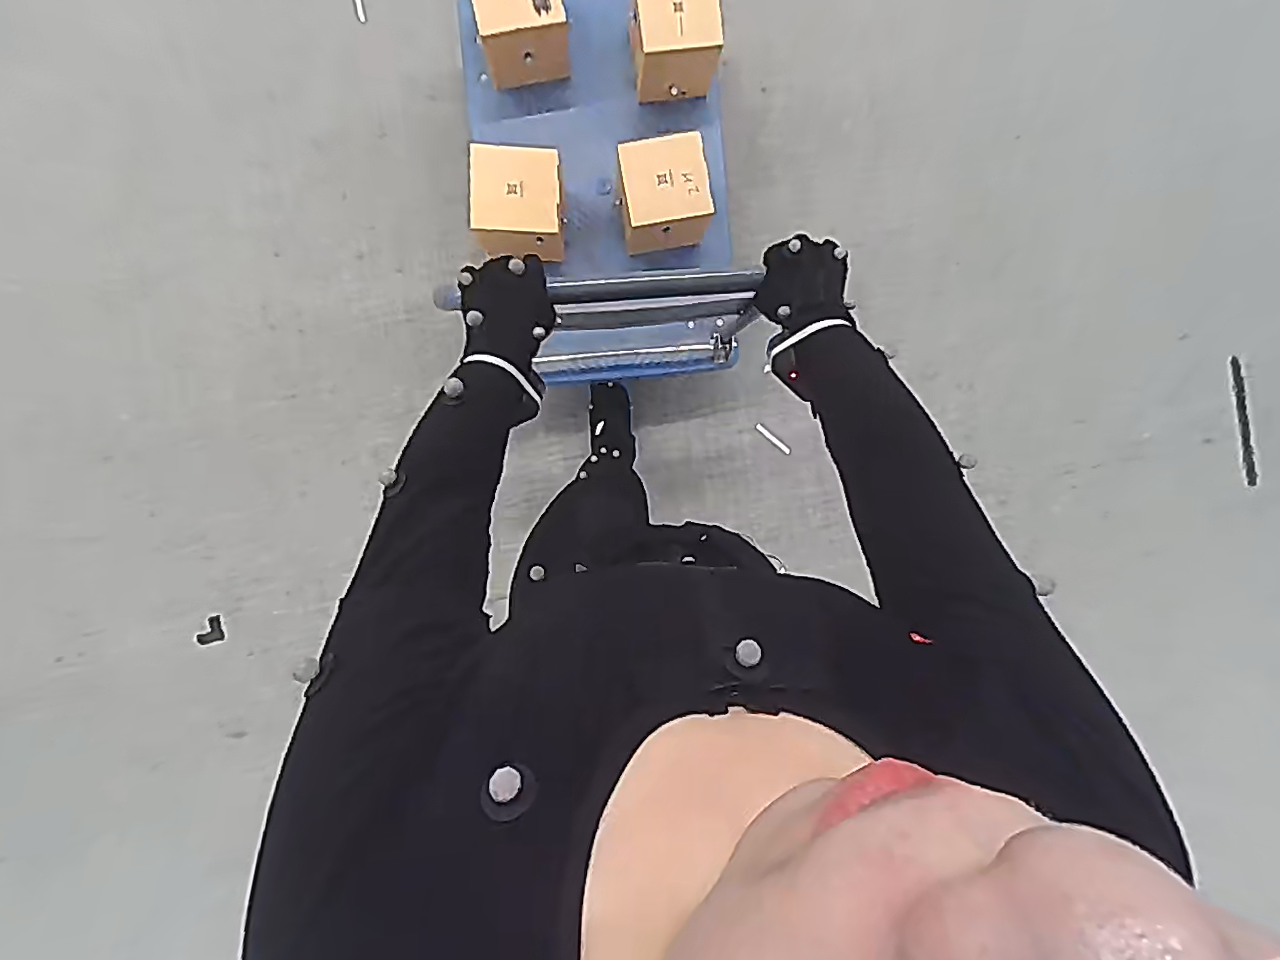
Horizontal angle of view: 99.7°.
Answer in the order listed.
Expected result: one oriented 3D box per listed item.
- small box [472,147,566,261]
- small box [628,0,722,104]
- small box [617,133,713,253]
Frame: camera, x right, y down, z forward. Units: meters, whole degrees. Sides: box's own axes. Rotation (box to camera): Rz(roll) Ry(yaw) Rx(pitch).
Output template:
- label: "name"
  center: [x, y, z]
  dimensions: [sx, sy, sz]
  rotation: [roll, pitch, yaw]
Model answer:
- label: "small box"
  center: [-0.254, -0.584, 1.164]
  dimensions: [0.179, 0.176, 0.168]
  rotation: [0, 93, -6]
- label: "small box"
  center: [0.068, -0.956, 1.162]
  dimensions: [0.168, 0.176, 0.179]
  rotation: [-9, 95, -3]
- label: "small box"
  center: [0.048, -0.617, 1.183]
  dimensions: [0.179, 0.176, 0.168]
  rotation: [-11, 95, -3]
